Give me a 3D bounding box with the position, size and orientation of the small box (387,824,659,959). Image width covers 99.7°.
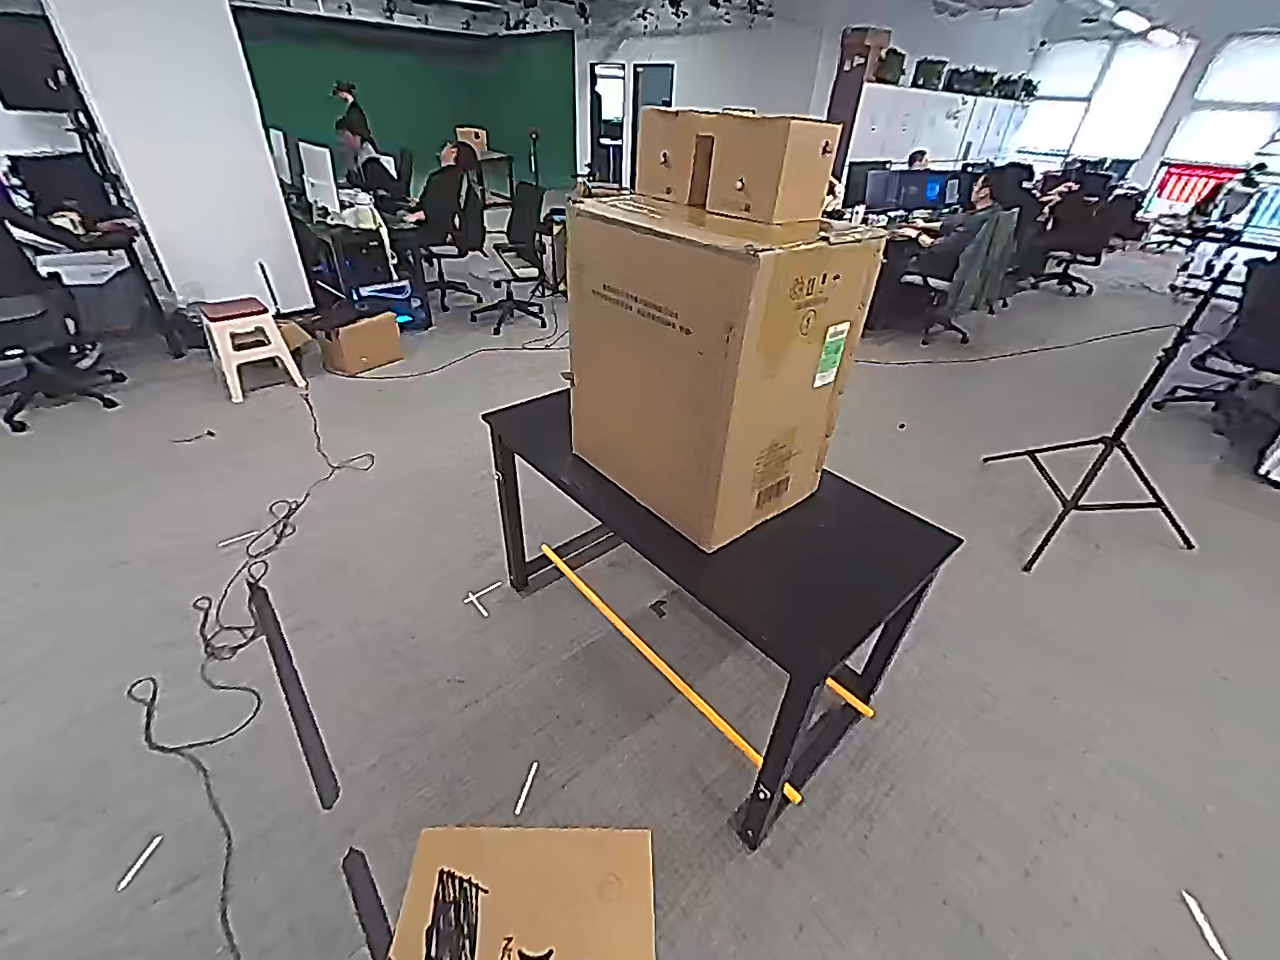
[{"bbox_3d":[-0.078,0.374,0.386,0.179,0.176,0.168,2,35,-3],"label":"small box"}]

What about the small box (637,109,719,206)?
[{"bbox_3d":[0.108,-0.709,1.188,0.168,0.176,0.179,32,43,33],"label":"small box"}]

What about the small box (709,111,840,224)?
[{"bbox_3d":[0.252,-0.603,1.047,0.179,0.176,0.168,-25,43,-37],"label":"small box"}]
